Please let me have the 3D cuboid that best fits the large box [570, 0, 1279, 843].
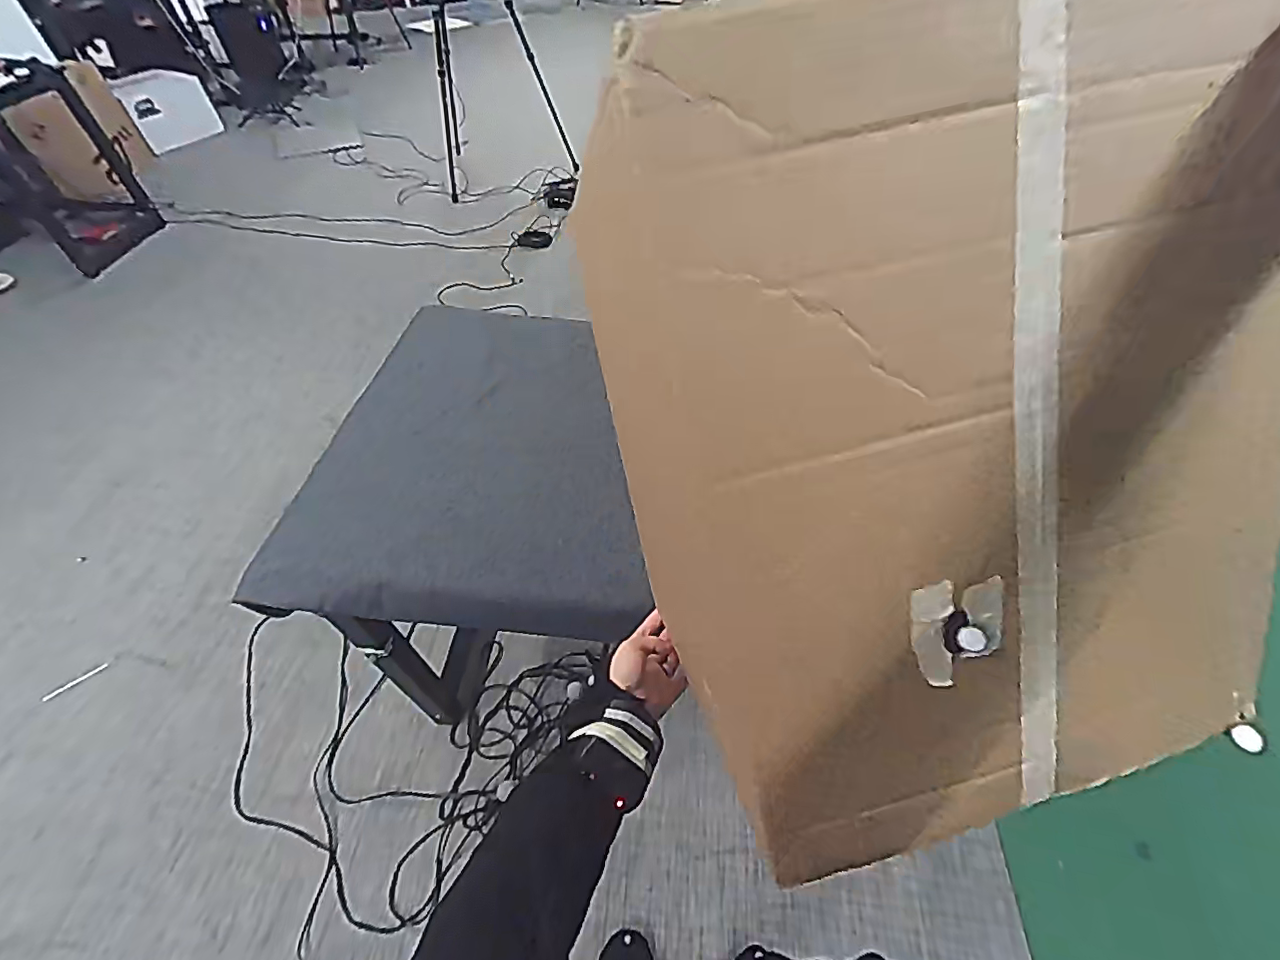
[{"bbox_3d":[0.157,-0.048,0.416,0.320,0.408,0.320,-16,19,-7],"label":"large box"}]
